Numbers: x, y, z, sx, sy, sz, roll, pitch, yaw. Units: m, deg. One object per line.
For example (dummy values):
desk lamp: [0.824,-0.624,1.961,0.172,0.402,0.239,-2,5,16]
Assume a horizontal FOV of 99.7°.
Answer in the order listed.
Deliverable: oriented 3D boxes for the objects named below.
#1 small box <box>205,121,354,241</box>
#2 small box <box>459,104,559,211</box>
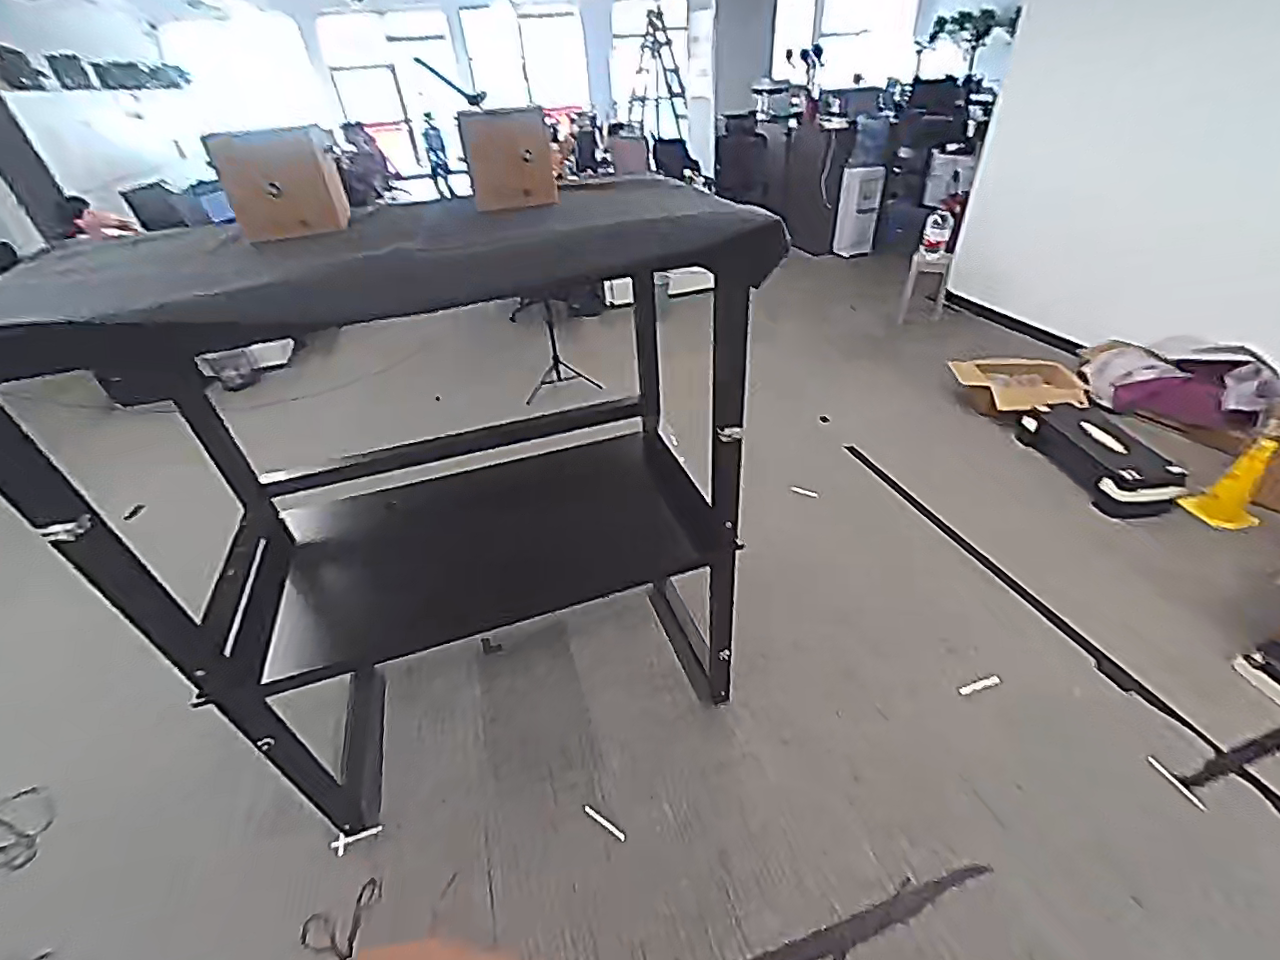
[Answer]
small box: [-0.650,-0.552,1.002,0.168,0.176,0.179,-14,38,-13]
small box: [-0.262,-0.654,1.099,0.168,0.176,0.179,-10,37,-9]
